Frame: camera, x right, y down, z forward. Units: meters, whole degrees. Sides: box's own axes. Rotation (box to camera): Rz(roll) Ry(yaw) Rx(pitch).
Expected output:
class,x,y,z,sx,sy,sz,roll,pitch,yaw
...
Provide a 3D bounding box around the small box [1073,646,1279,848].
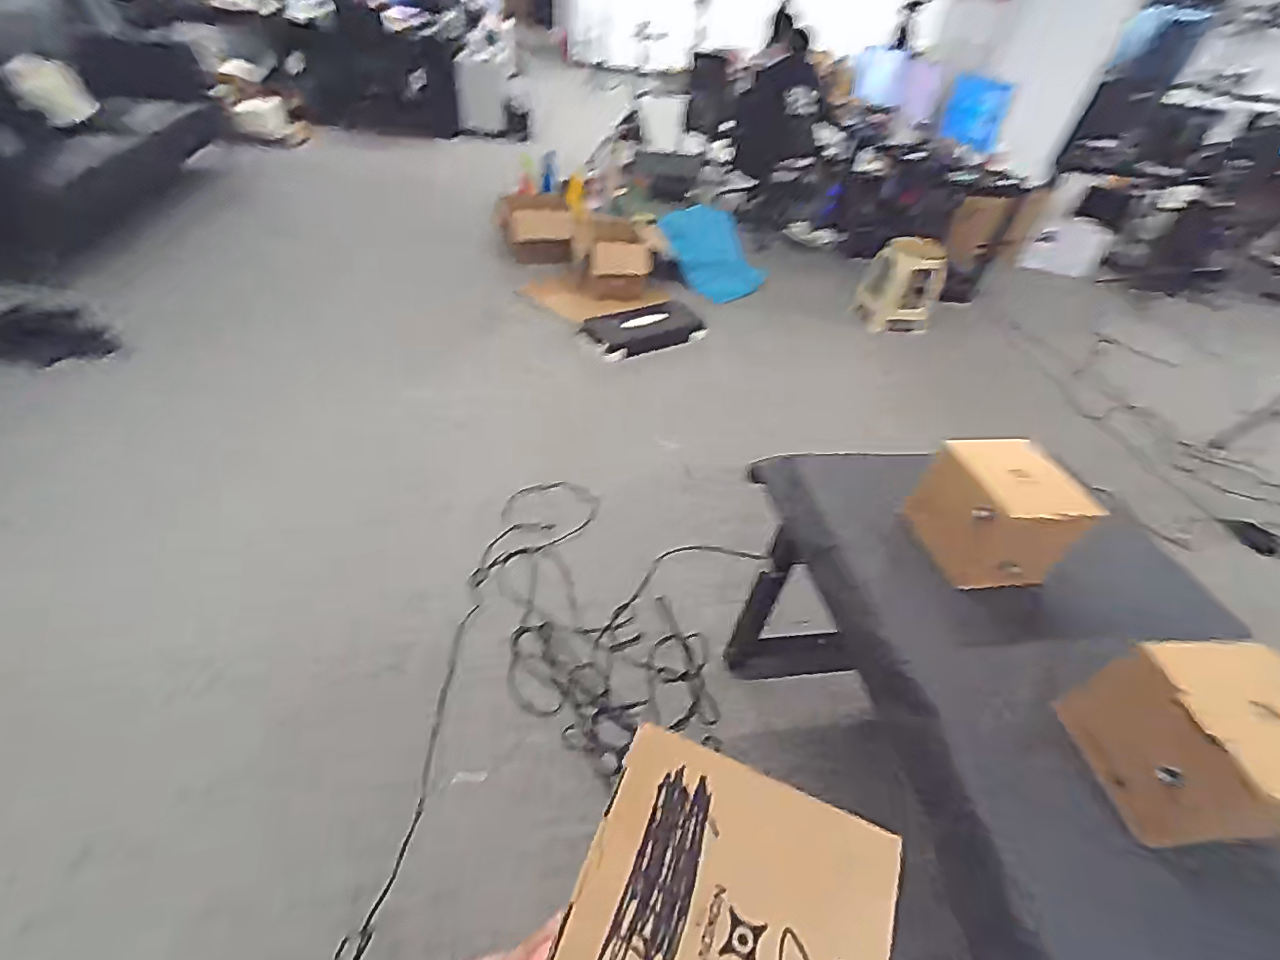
class,x,y,z,sx,sy,sz,roll,pitch,yaw
small box,0.658,0.308,0.625,0.179,0.176,0.168,3,44,-9

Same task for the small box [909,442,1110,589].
class,x,y,z,sx,sy,sz,roll,pitch,yaw
small box,0.580,0.056,0.881,0.168,0.176,0.179,-1,44,-12
